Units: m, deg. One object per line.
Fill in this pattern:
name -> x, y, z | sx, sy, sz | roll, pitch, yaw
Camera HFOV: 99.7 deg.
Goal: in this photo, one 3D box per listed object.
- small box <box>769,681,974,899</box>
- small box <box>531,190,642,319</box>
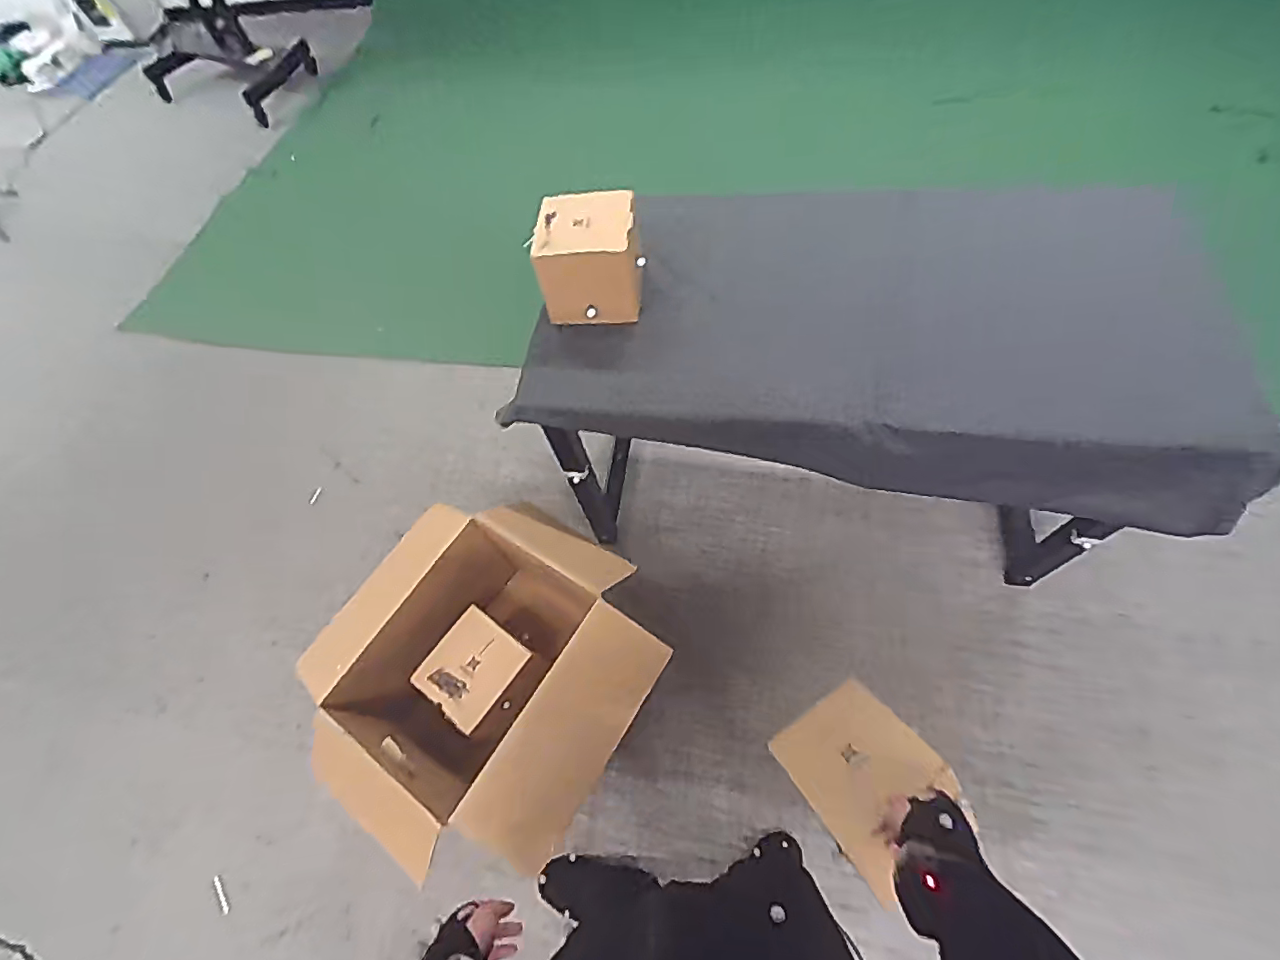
small box -> 0.316, 0.426, 0.741 | 0.168, 0.176, 0.179 | -36, 25, -8
small box -> -0.092, -0.429, 1.043 | 0.179, 0.176, 0.168 | 1, 62, 7
